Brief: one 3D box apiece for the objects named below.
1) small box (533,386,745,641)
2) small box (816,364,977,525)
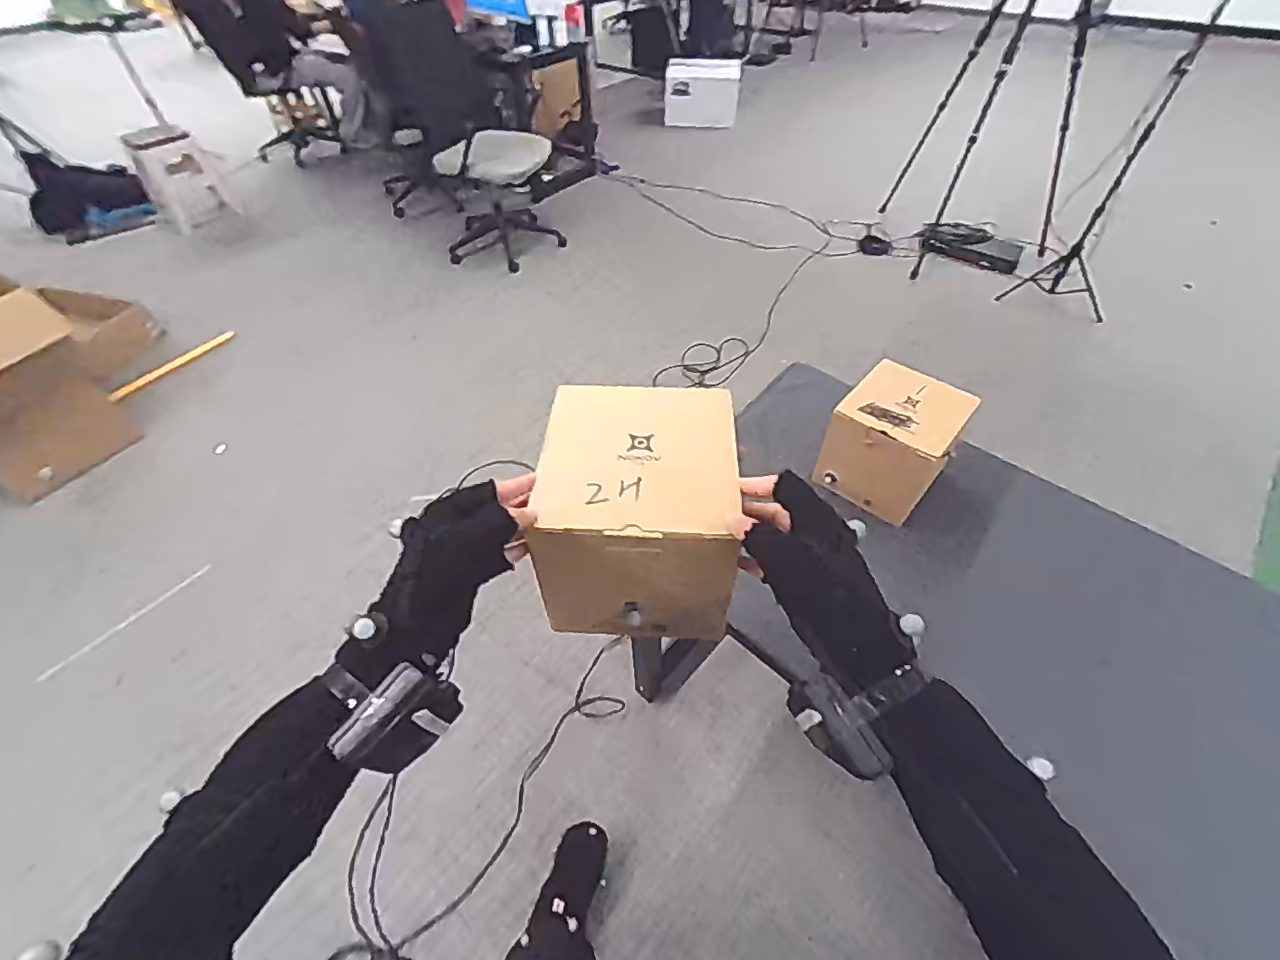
[{"bbox_3d":[0.005,0.032,0.522,0.168,0.176,0.179,3,48,3],"label":"small box"},{"bbox_3d":[0.414,-0.057,0.903,0.168,0.176,0.179,34,57,26],"label":"small box"}]
